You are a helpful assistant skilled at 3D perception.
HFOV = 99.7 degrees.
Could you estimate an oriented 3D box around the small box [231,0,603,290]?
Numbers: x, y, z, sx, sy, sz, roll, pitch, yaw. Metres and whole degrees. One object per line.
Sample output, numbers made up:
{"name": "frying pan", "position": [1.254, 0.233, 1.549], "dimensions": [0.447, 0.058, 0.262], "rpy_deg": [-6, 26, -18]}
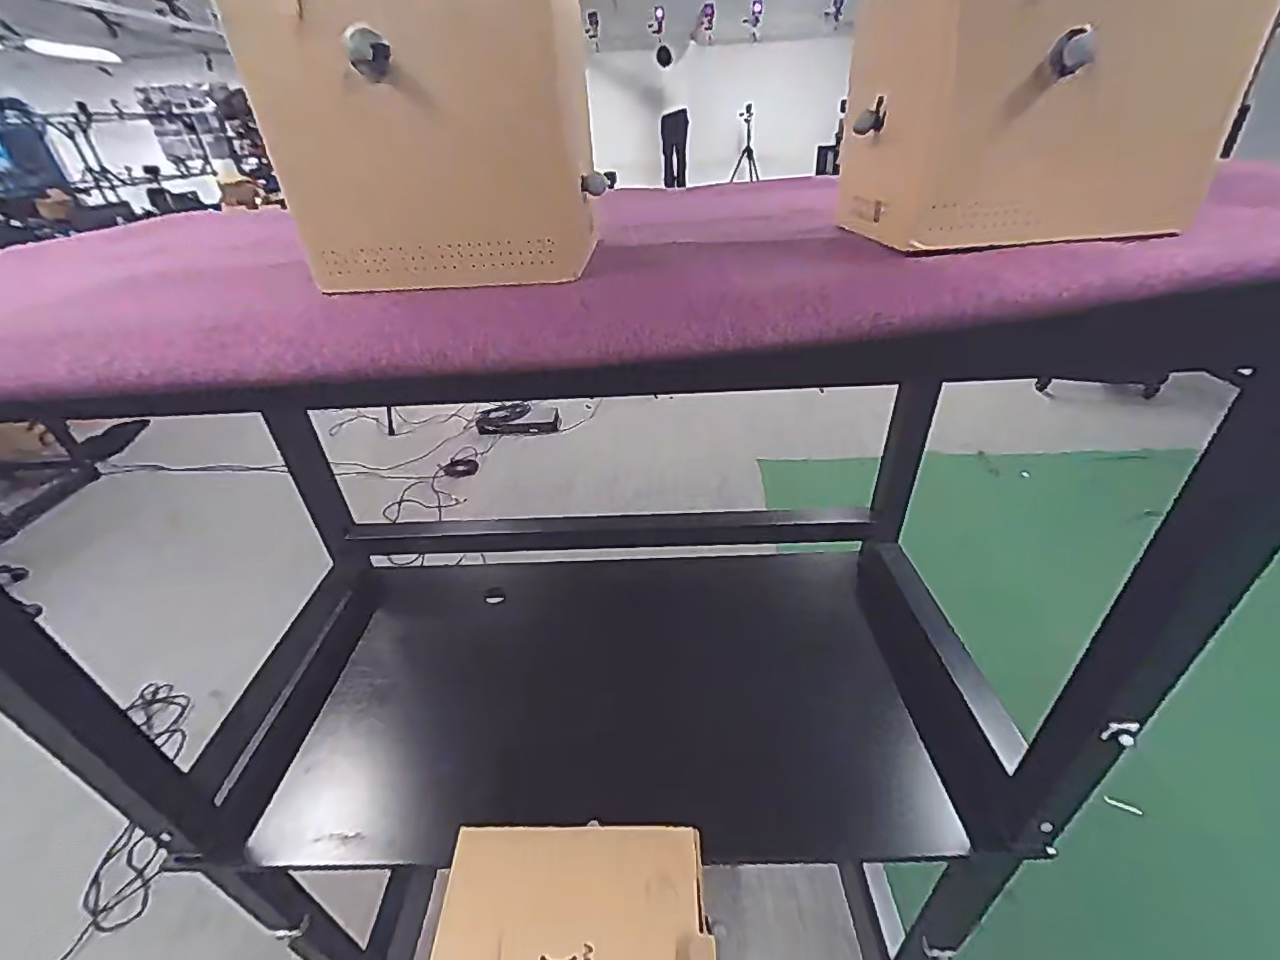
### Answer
{"name": "small box", "position": [-0.126, -0.238, 0.379], "dimensions": [0.179, 0.176, 0.168], "rpy_deg": [-1, 34, 3]}

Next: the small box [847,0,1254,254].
{"name": "small box", "position": [0.253, -0.259, 0.372], "dimensions": [0.179, 0.176, 0.168], "rpy_deg": [-3, 31, 4]}
